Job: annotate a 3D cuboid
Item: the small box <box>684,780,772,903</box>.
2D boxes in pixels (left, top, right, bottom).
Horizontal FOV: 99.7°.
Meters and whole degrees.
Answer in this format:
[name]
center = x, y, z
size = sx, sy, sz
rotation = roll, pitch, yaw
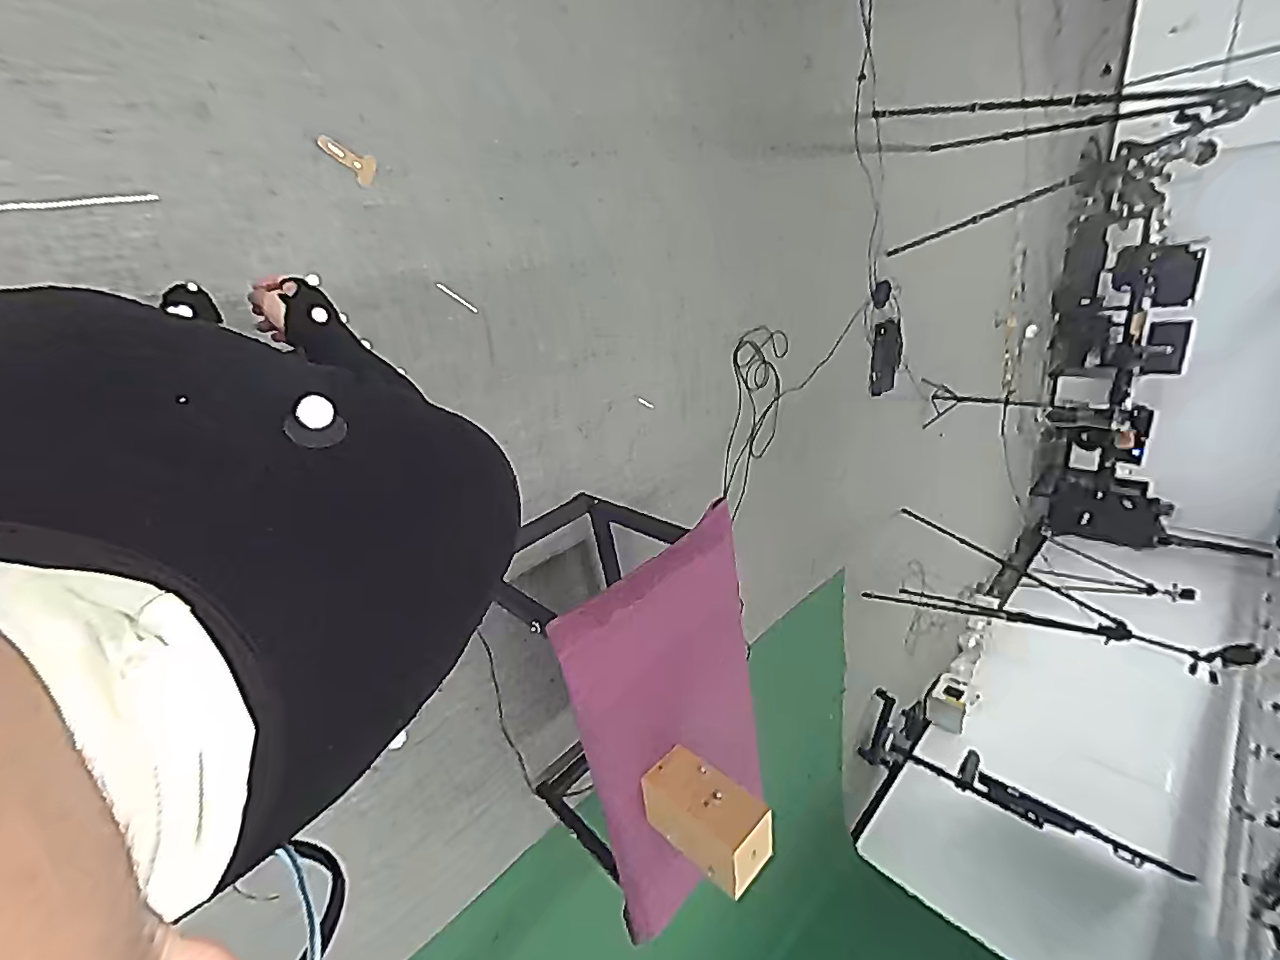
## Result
[small box]
center = 0.235, 0.956, 1.445
size = 0.168, 0.176, 0.179
rotation = -23, 116, -38
